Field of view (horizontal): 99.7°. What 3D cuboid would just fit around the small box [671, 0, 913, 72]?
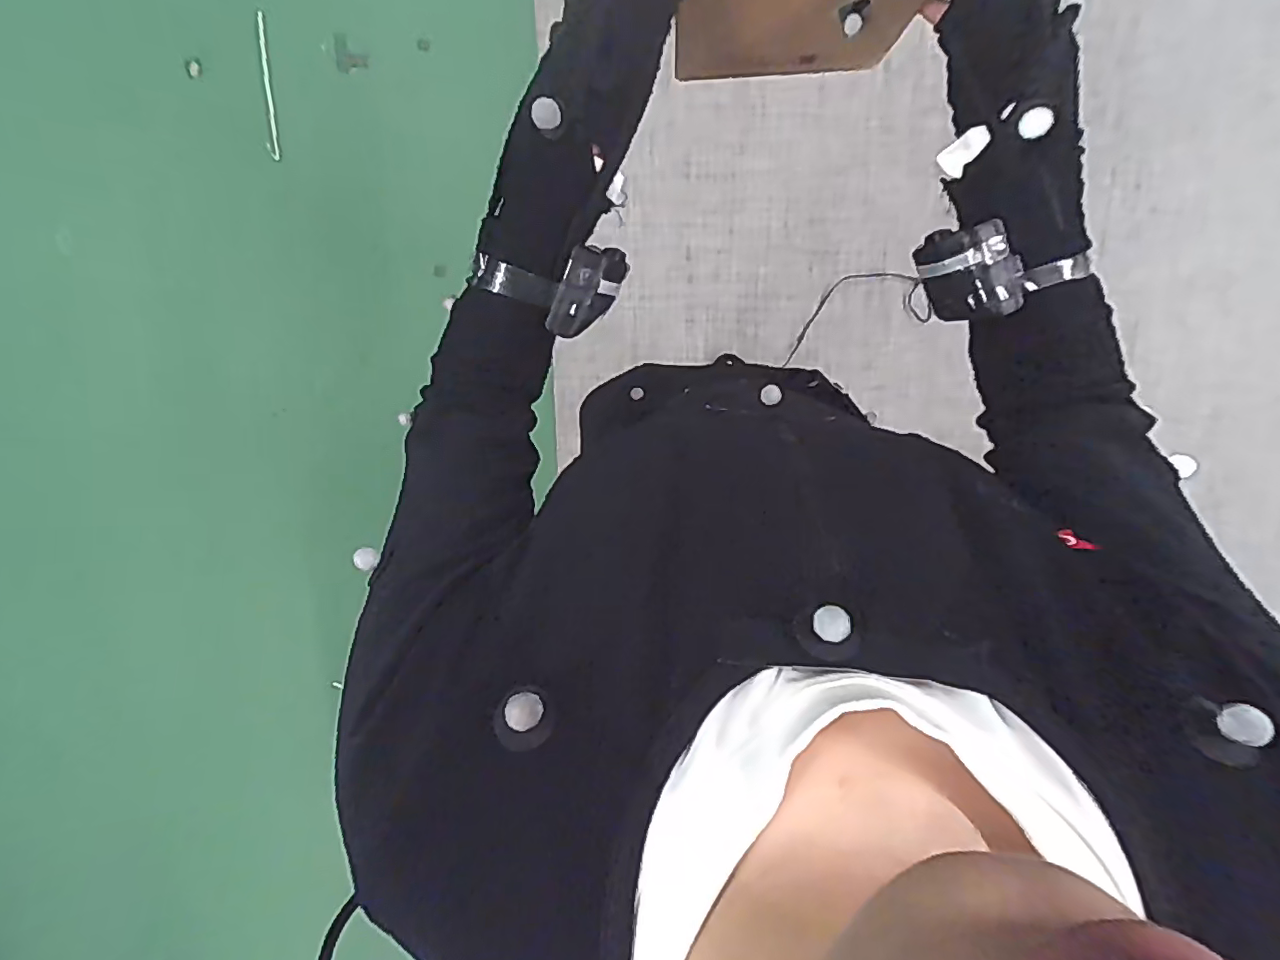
[{"bbox_3d":[0.103,-0.396,0.348,0.168,0.176,0.179,-1,102,3],"label":"small box"}]
